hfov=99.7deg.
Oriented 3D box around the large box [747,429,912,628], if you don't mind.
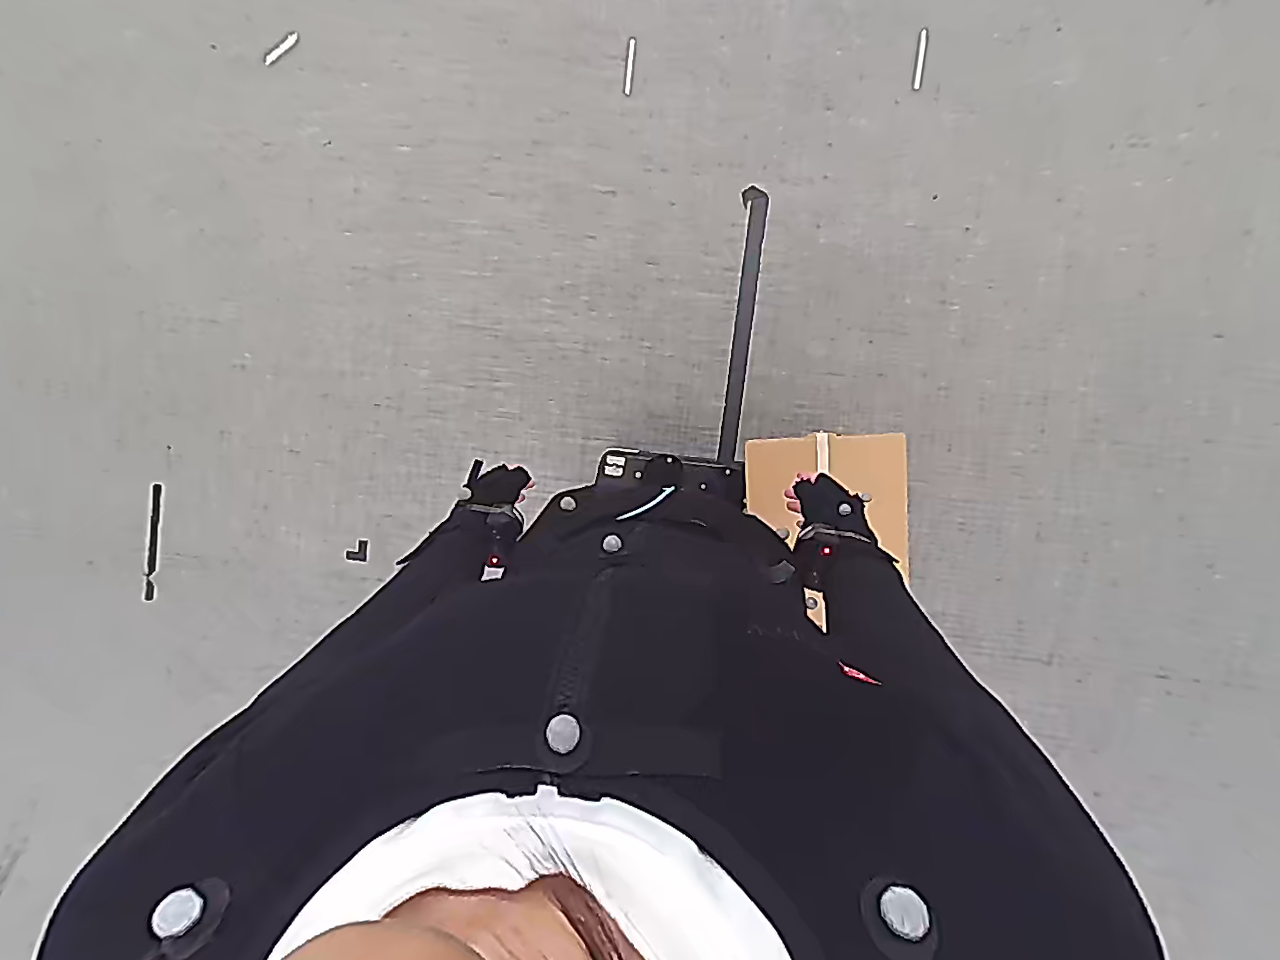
[{"bbox_3d":[0.417,0.094,1.251,0.320,0.320,0.408,-2,94,13],"label":"large box"}]
